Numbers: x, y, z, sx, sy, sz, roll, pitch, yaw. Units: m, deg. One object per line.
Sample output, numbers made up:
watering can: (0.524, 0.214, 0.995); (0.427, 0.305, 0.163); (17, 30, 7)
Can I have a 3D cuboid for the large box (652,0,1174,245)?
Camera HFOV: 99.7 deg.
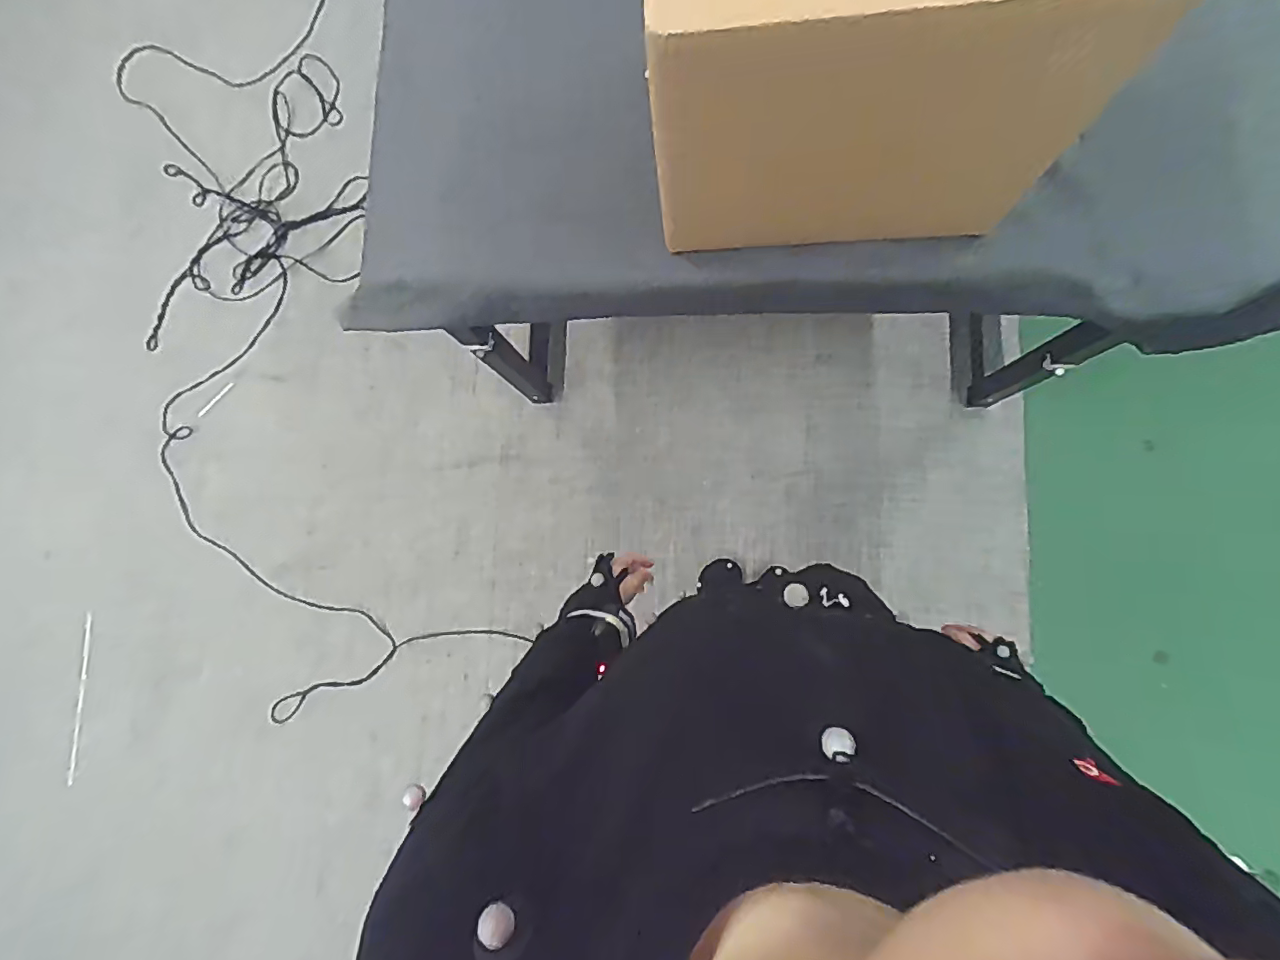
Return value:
large box: (0.216, -0.483, 0.570); (0.408, 0.320, 0.320); (-1, 83, 5)
